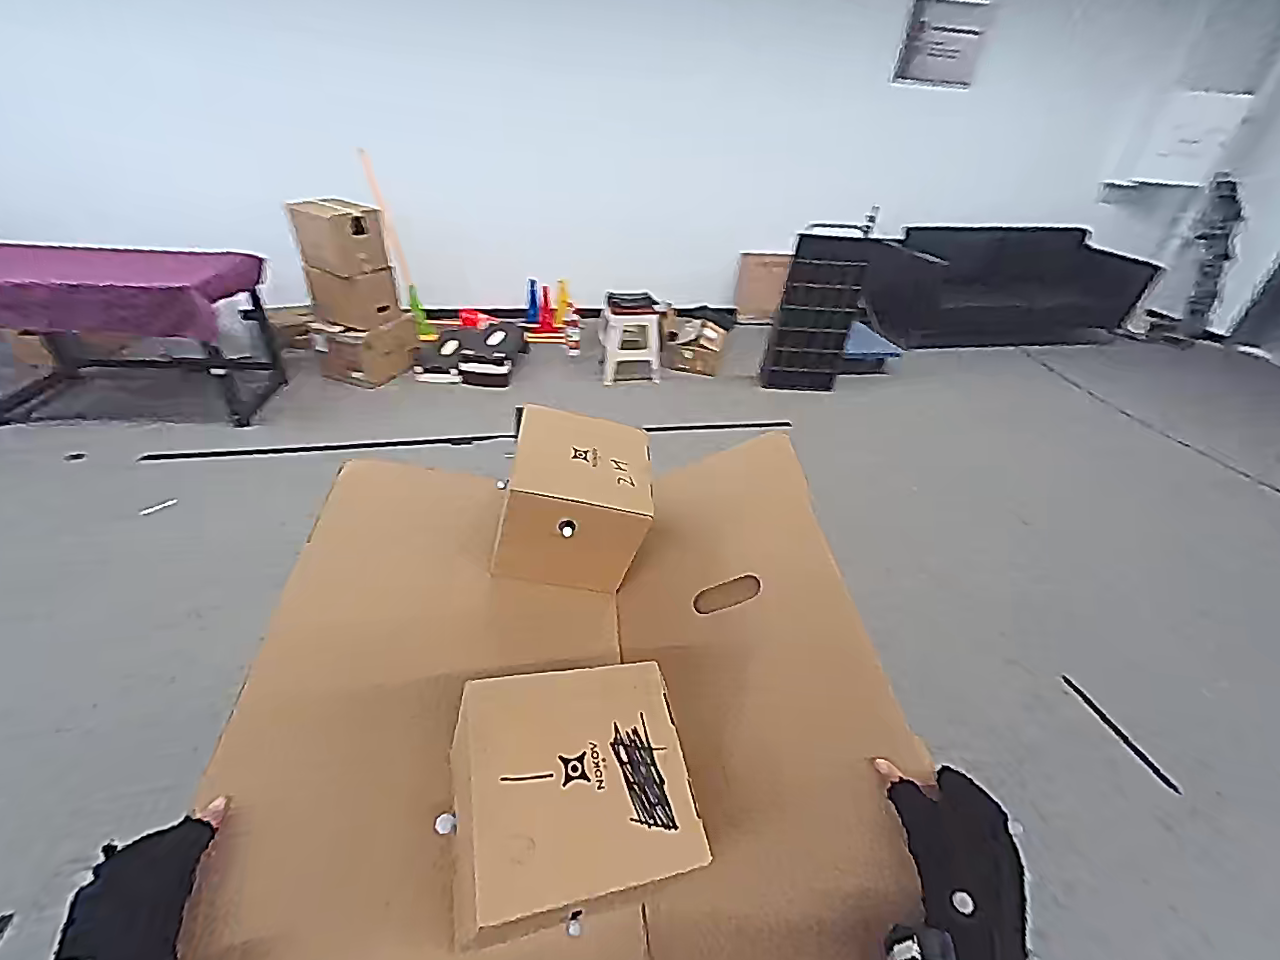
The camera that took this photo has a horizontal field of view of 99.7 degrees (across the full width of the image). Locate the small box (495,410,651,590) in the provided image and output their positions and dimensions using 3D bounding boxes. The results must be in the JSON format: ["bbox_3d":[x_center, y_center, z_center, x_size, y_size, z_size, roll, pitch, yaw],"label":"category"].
[{"bbox_3d":[-0.095,0.033,0.748,0.179,0.176,0.168,12,42,-14],"label":"small box"}]

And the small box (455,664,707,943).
[{"bbox_3d":[-0.069,0.287,0.491,0.179,0.176,0.168,2,46,-23],"label":"small box"}]
